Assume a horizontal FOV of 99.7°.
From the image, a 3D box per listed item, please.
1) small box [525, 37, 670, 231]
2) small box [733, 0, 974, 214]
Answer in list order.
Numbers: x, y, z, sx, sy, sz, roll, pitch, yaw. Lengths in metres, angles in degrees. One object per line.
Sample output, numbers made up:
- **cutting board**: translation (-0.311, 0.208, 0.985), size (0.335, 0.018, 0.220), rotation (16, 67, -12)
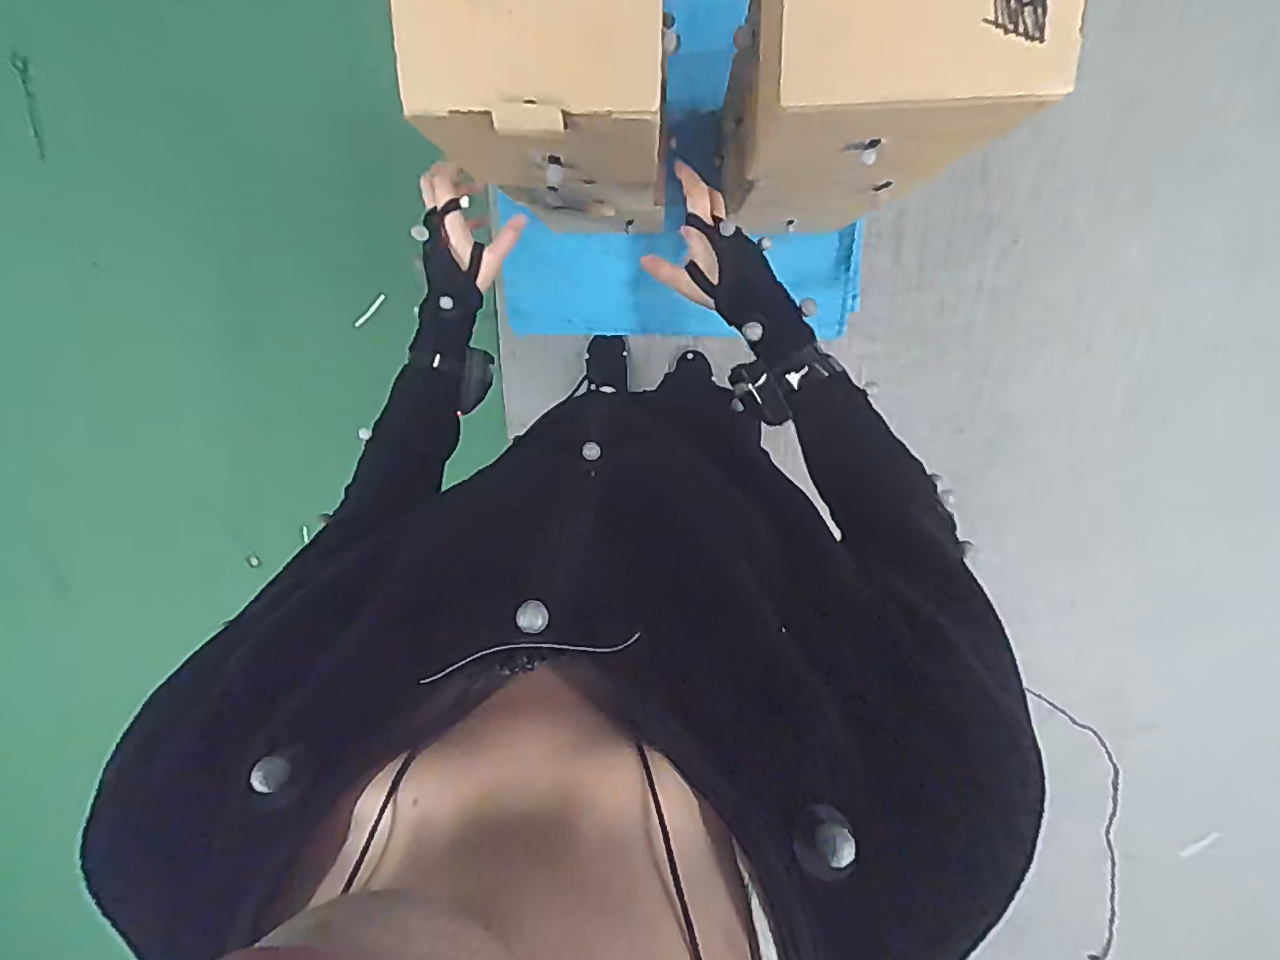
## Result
- **small box**: translation (-0.048, -0.429, 0.700), size (0.168, 0.176, 0.179), rotation (2, 105, 1)
- **small box**: translation (0.192, -0.370, 0.534), size (0.179, 0.176, 0.168), rotation (-1, 105, 3)
